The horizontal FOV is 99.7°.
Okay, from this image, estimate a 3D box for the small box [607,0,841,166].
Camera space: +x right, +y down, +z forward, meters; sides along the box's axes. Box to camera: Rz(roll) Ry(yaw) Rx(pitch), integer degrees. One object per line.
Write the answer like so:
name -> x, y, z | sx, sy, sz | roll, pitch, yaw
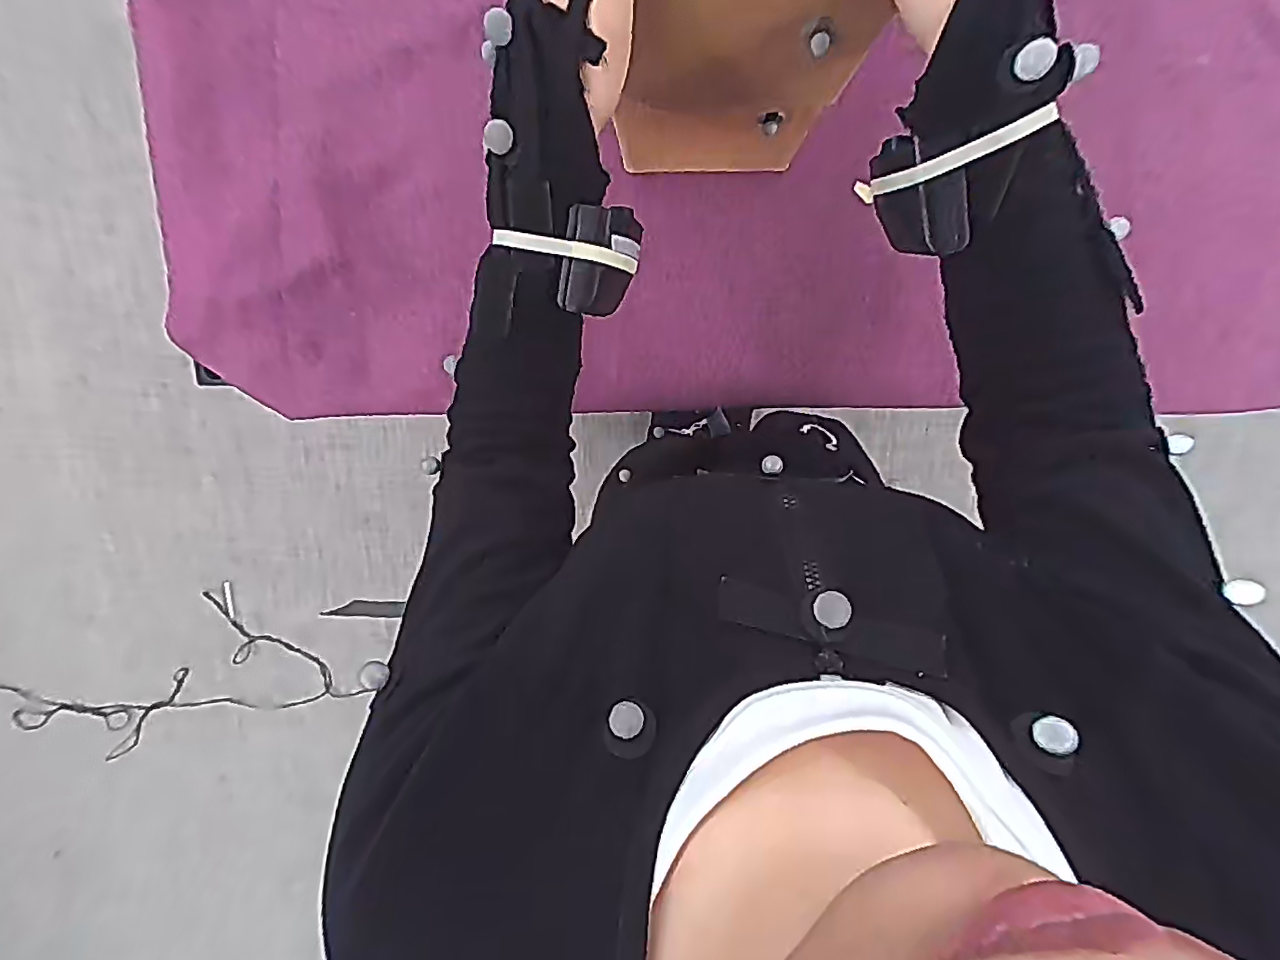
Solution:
small box -> 0.067, -0.395, 0.477 | 0.179, 0.176, 0.168 | 0, 102, 2
